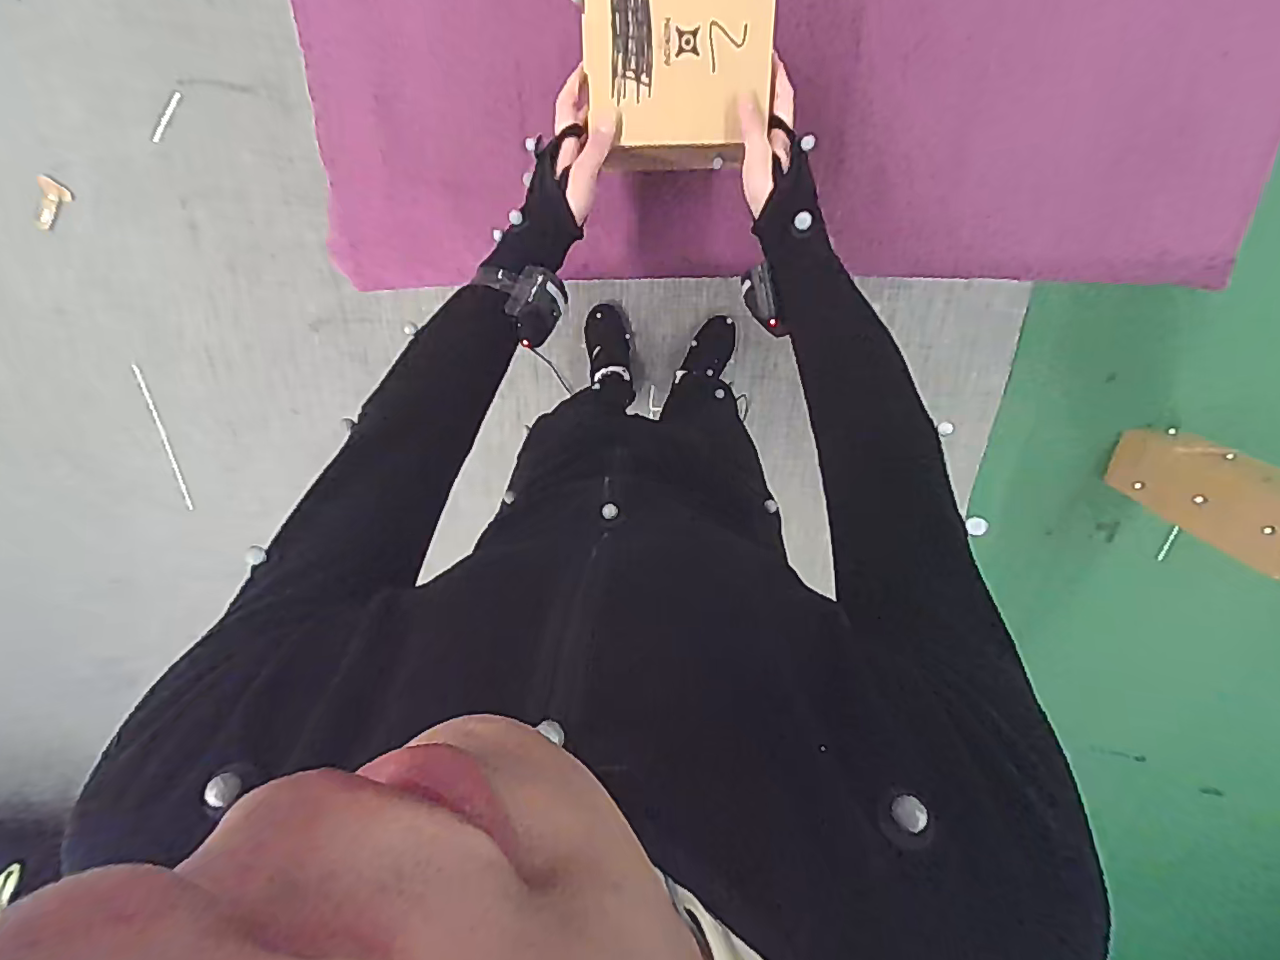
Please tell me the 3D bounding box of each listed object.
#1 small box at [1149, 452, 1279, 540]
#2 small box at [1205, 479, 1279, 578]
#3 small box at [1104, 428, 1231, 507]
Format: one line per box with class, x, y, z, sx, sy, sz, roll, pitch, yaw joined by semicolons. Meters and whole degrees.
small box;1.465;0.039;1.378;0.168;0.176;0.179;-1;114;3
small box;1.461;0.103;1.227;0.168;0.176;0.179;-2;115;4
small box;1.468;-0.034;1.523;0.168;0.176;0.179;2;114;1
